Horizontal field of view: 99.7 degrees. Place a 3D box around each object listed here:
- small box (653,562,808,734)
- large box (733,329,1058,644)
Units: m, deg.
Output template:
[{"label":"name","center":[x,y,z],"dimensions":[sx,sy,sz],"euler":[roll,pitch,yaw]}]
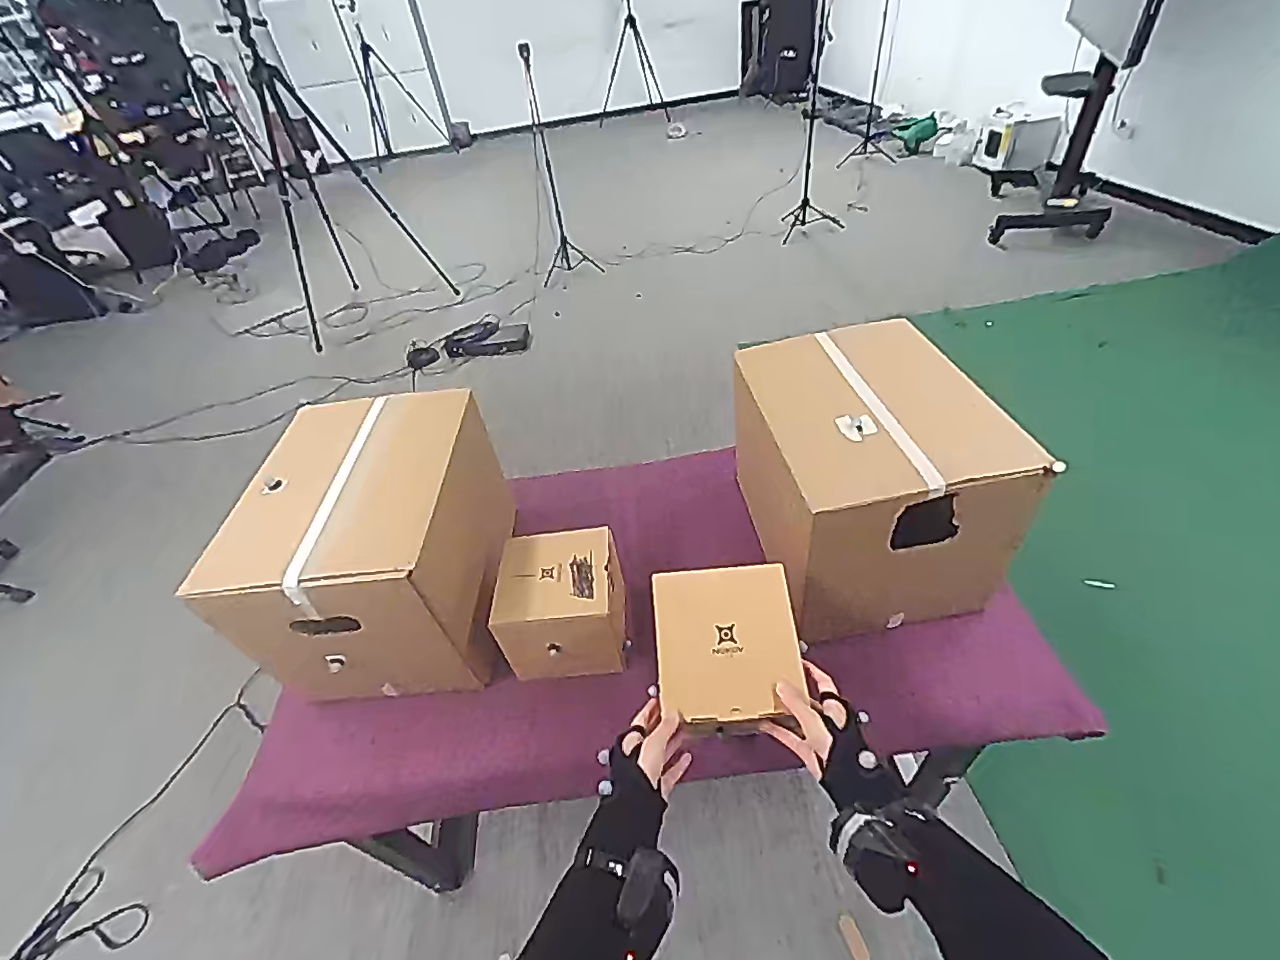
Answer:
[{"label":"small box","center":[0.104,0.223,0.705],"dimensions":[0.168,0.176,0.179],"euler":[-5,60,2]},{"label":"large box","center":[0.358,-0.001,0.906],"dimensions":[0.320,0.320,0.408],"euler":[-11,43,1]}]
